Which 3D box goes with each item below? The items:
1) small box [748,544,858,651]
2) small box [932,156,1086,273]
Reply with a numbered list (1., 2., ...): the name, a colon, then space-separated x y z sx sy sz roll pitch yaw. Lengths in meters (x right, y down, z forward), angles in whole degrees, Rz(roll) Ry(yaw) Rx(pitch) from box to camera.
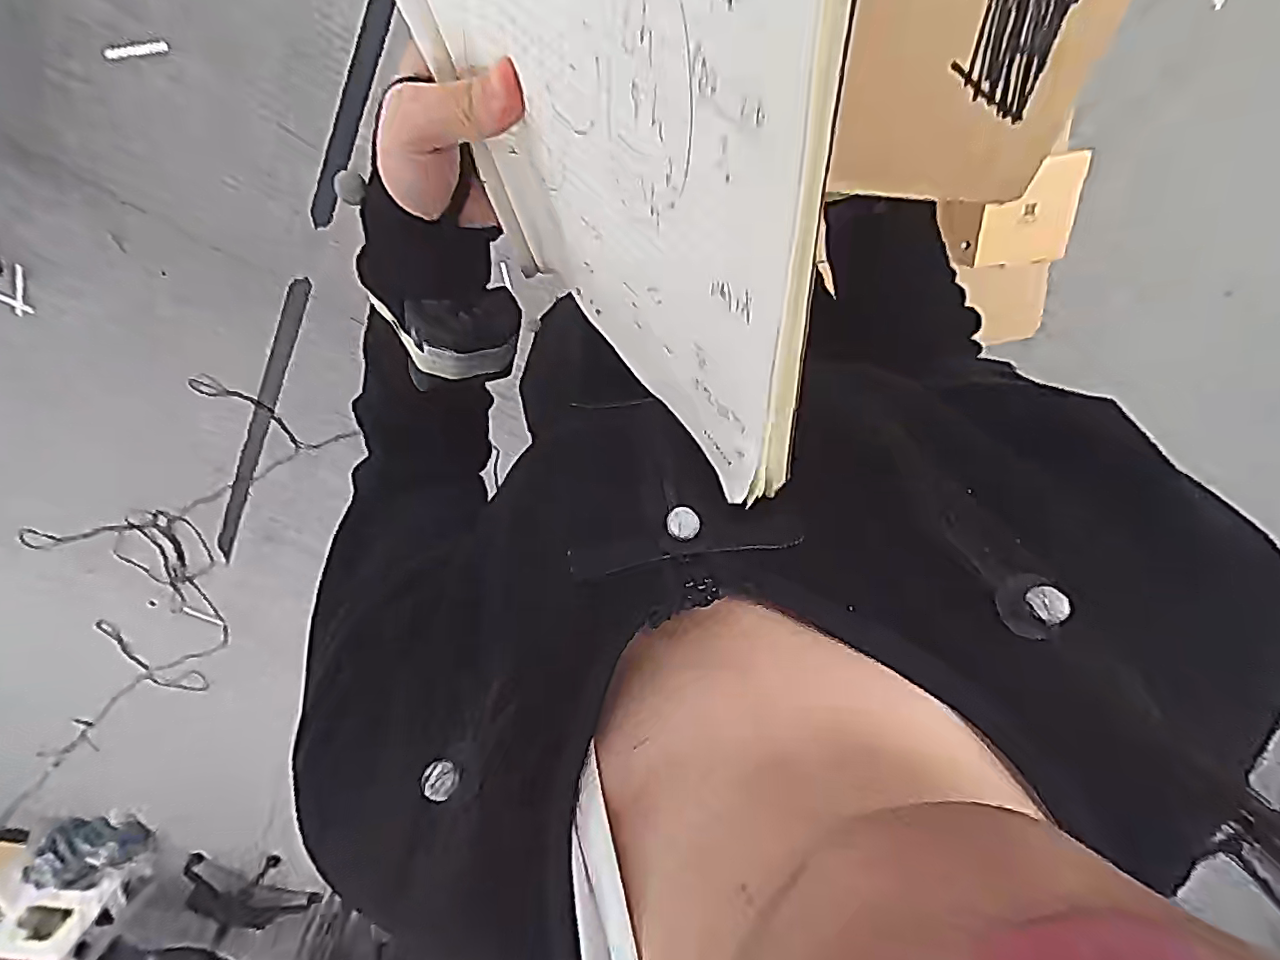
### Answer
1. small box: 0.385 0.280 1.318 0.179 0.176 0.168 24 117 -14
2. small box: 0.687 -0.509 1.033 0.168 0.176 0.179 -5 121 2
